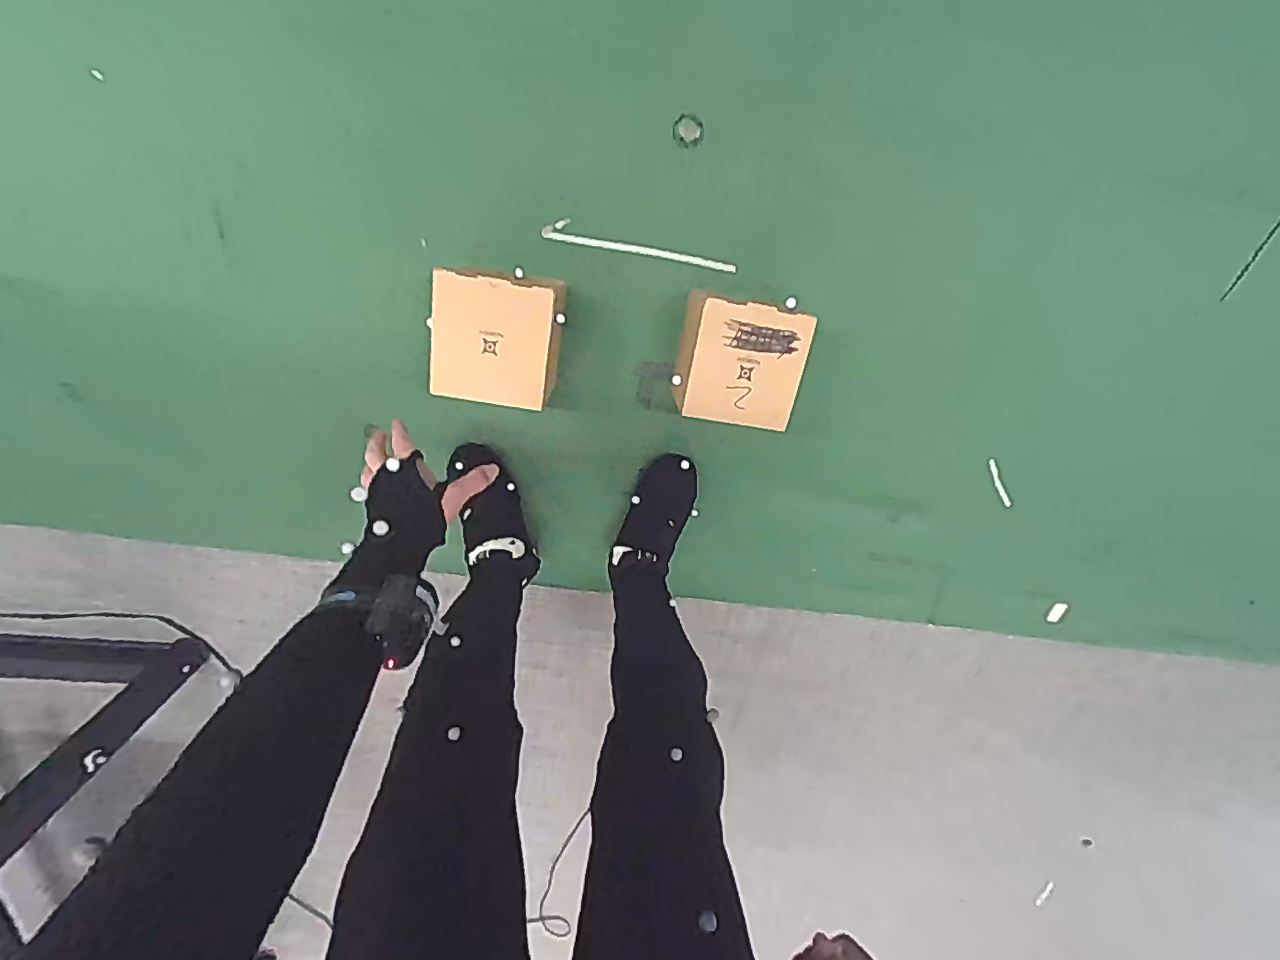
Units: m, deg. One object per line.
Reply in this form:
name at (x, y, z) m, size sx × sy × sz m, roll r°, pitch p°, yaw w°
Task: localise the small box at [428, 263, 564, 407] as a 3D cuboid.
small box at (-0.214, -0.228, 0.833) m, size 0.168 × 0.176 × 0.179 m, roll 8°, pitch 112°, yaw -5°
